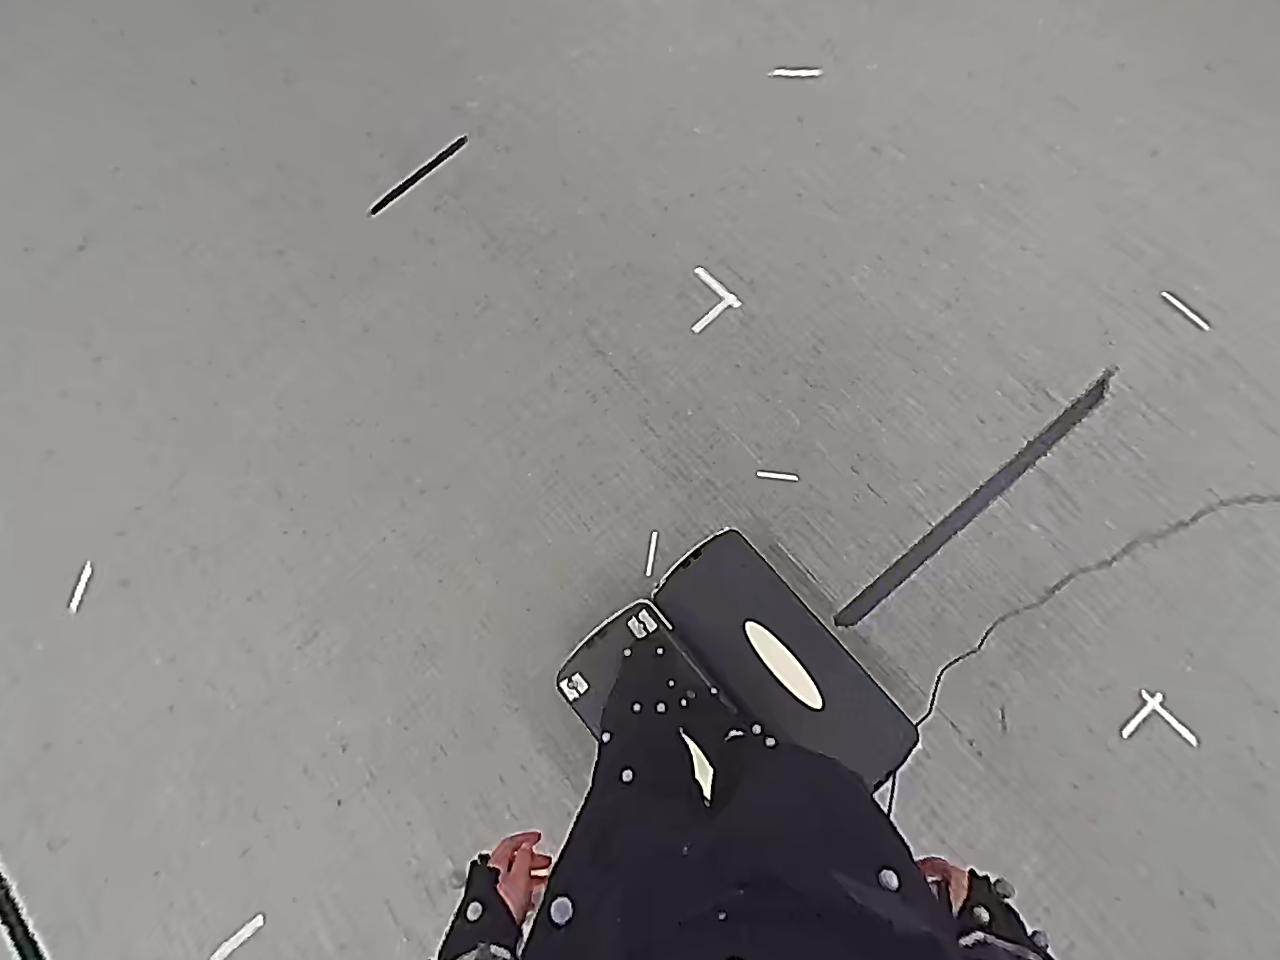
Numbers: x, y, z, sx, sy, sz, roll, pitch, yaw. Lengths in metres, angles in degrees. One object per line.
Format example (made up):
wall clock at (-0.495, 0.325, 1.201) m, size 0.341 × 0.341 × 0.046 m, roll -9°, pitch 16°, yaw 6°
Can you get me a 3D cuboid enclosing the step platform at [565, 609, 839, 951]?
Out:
step platform at (0.122, 0.638, 1.228) m, size 0.286 × 0.204 × 0.684 m, roll -37°, pitch 76°, yaw -6°
